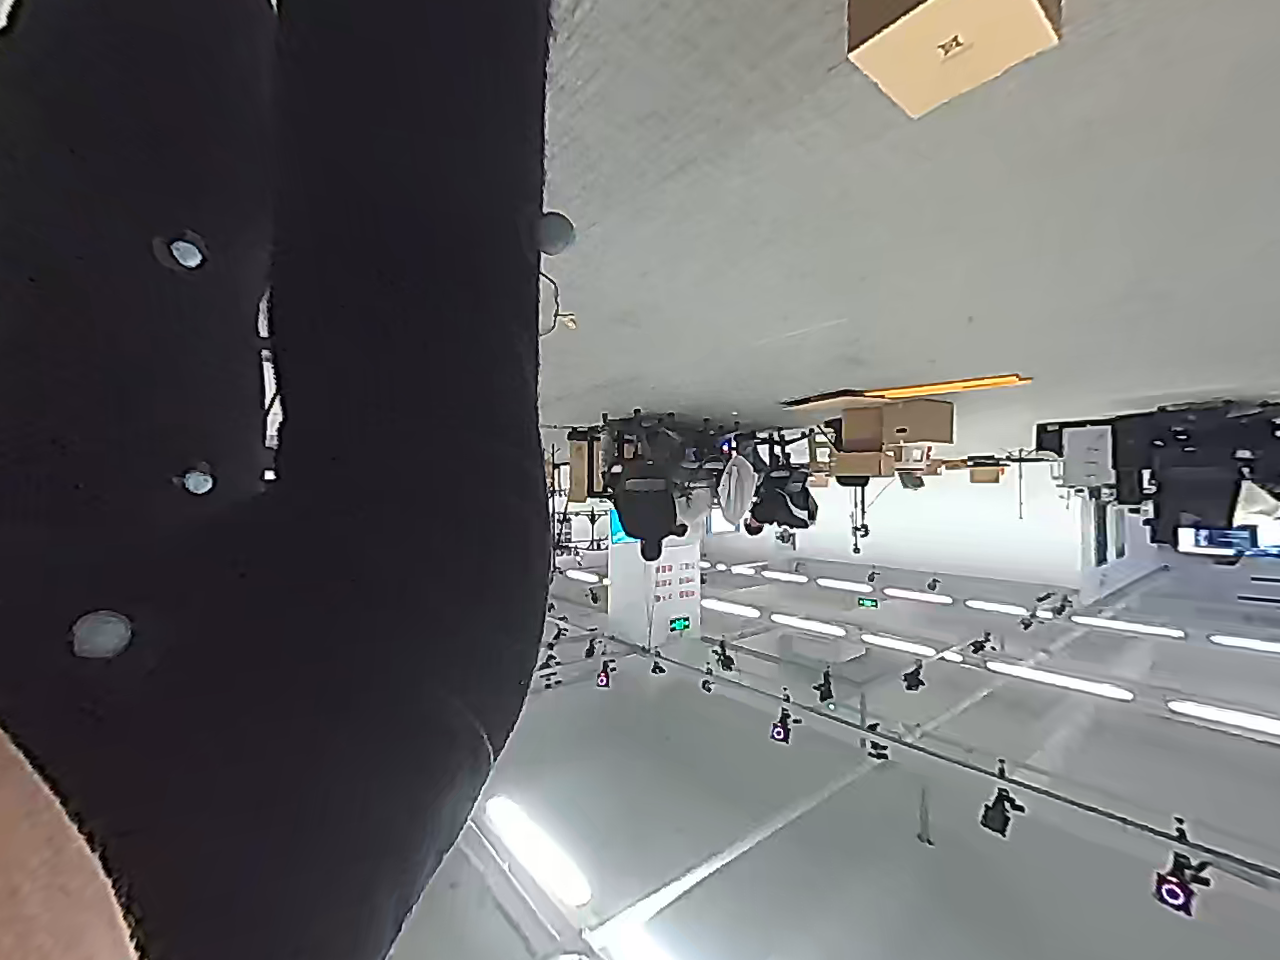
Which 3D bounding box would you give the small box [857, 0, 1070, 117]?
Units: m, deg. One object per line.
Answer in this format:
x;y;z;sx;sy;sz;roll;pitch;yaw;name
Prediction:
0.363;-0.573;0.616;0.179;0.176;0.168;0;179;-39;small box
